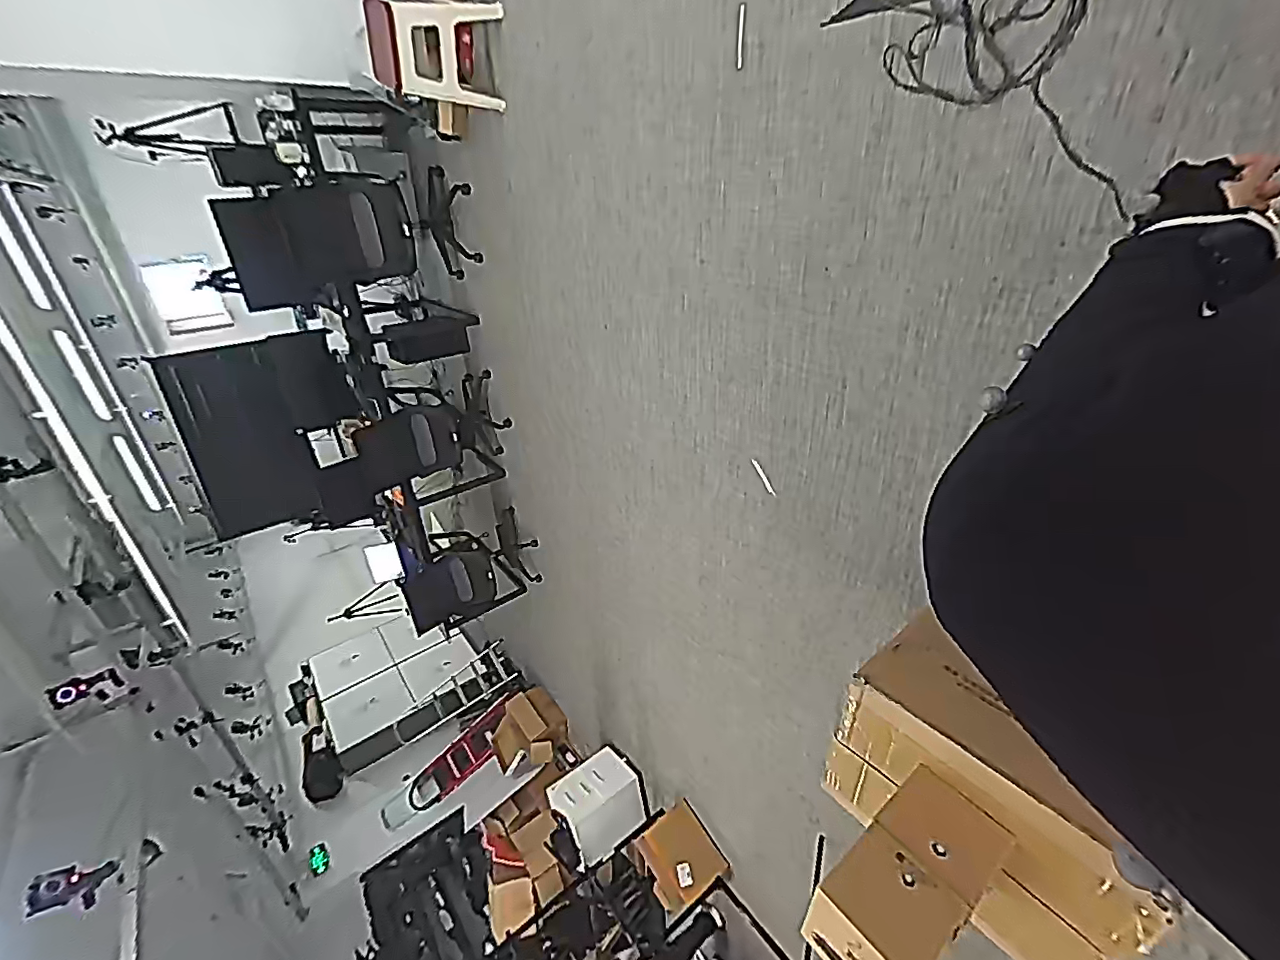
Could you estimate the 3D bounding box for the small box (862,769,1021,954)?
[{"bbox_3d":[0.534,0.667,0.963,0.179,0.176,0.168,34,135,44],"label":"small box"}]
